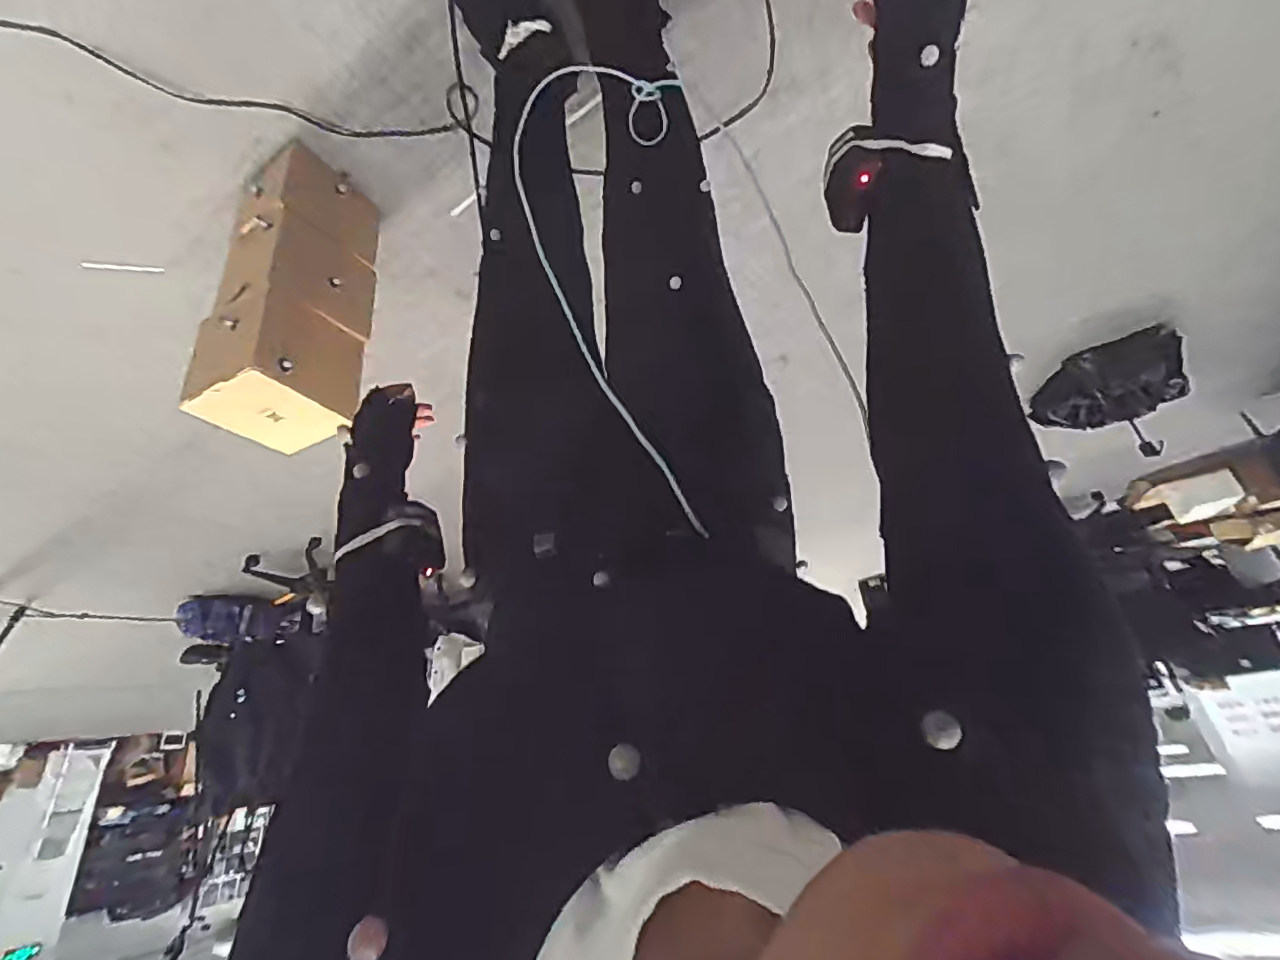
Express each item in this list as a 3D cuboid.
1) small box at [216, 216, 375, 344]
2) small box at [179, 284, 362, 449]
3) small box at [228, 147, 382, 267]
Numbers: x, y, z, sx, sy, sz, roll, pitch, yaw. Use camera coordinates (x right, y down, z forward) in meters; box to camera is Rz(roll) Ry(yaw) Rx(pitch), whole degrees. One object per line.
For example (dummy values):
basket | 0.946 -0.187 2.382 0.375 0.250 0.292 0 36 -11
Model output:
small box | -0.593 -0.324 0.942 0.168 0.176 0.179 -20 153 23
small box | -0.580 -0.177 0.874 0.168 0.176 0.179 -17 153 19
small box | -0.613 -0.476 1.008 0.168 0.176 0.179 -19 151 27
